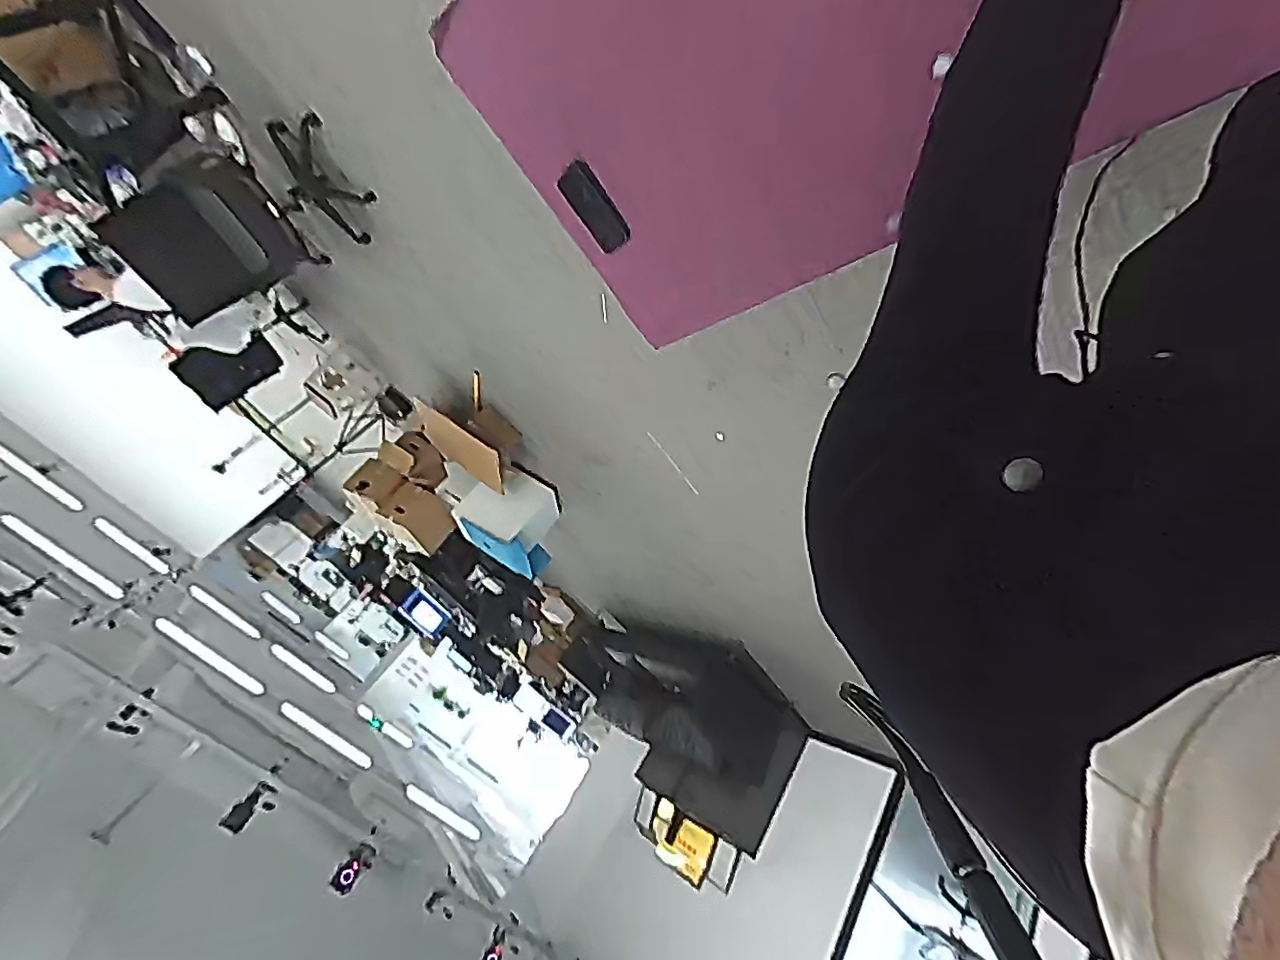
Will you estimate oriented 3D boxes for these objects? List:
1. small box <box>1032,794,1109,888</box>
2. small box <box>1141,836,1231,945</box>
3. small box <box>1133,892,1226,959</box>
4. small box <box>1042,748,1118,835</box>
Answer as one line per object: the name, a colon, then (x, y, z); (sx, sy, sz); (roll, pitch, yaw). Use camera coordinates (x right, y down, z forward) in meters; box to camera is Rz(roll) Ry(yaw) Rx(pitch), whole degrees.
small box: (1.403, 1.166, 1.759); (0.168, 0.176, 0.179); (2, 135, 50)
small box: (1.579, 1.181, 1.561); (0.168, 0.176, 0.179); (-1, 133, 51)
small box: (1.486, 1.293, 1.487); (0.168, 0.176, 0.179); (0, 133, 50)
small box: (1.495, 1.053, 1.834); (0.168, 0.176, 0.179); (1, 133, 50)
